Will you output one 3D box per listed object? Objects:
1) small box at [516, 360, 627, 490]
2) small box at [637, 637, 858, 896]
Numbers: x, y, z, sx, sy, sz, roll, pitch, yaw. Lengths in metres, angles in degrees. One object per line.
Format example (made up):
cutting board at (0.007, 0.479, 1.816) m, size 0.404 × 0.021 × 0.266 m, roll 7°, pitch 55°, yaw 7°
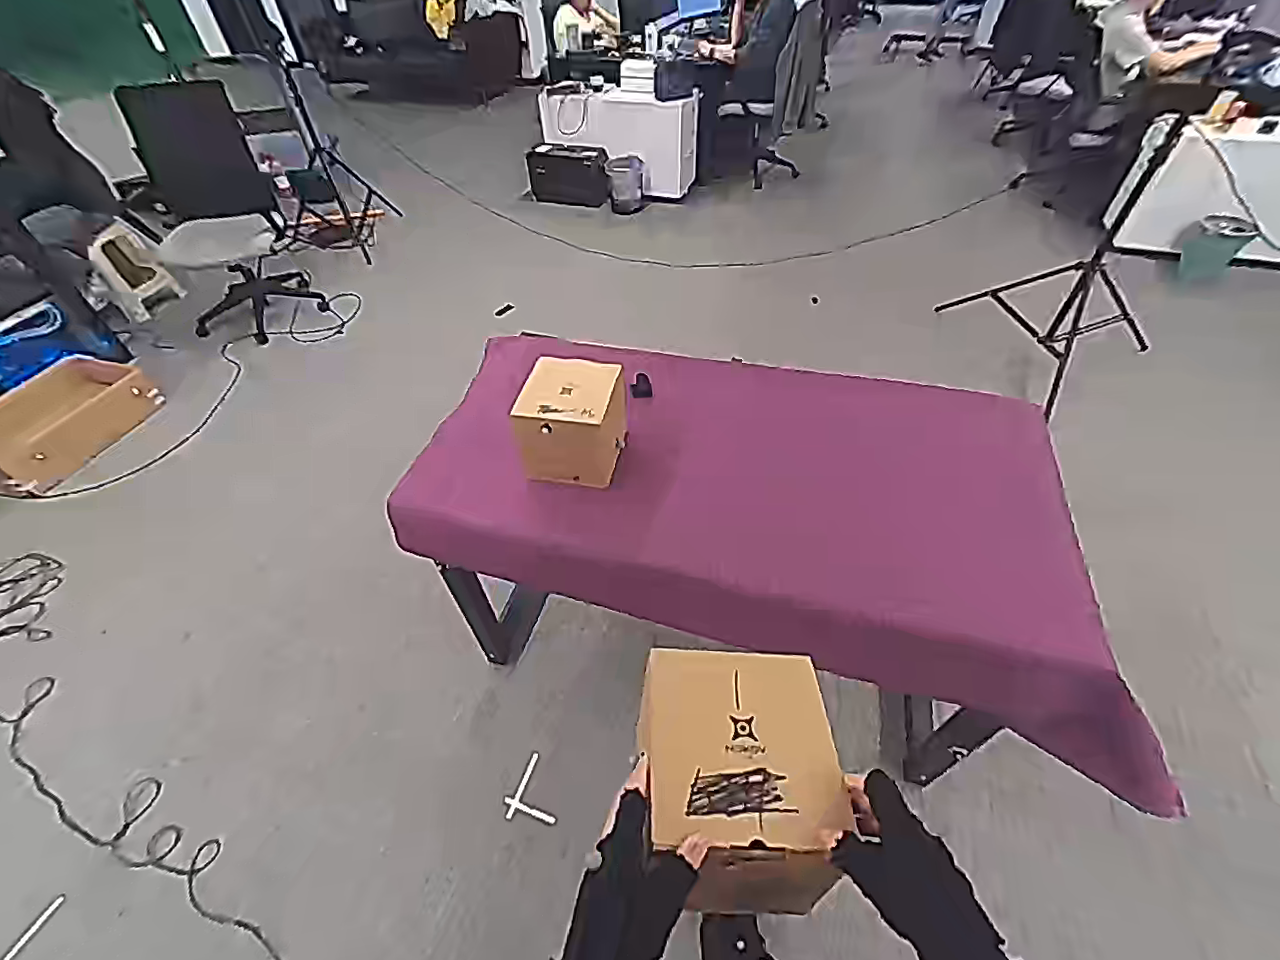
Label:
small box at (-0.121, -0.107, 1.044) m, size 0.168 × 0.176 × 0.179 m, roll 7°, pitch 47°, yaw 9°
small box at (0.086, 0.281, 0.532) m, size 0.168 × 0.176 × 0.179 m, roll 4°, pitch 37°, yaw -2°
